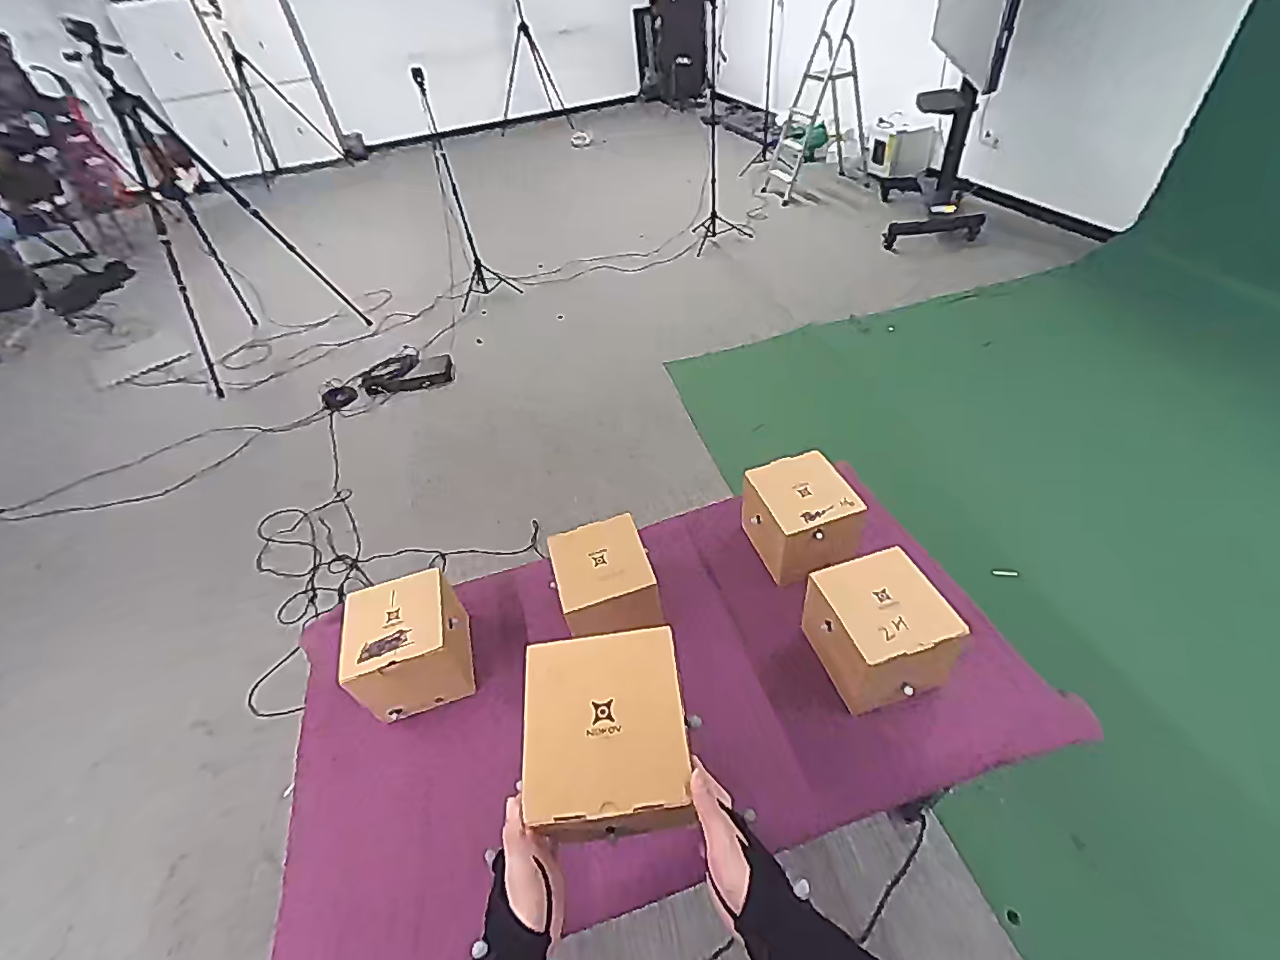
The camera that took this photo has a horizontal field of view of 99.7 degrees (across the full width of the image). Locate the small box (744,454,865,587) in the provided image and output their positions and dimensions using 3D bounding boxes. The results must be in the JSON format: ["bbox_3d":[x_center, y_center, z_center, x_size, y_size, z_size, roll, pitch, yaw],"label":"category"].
[{"bbox_3d":[0.314,0.080,1.077,0.168,0.176,0.179,-16,45,-8],"label":"small box"}]

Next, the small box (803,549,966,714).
[{"bbox_3d":[0.384,0.248,0.888,0.168,0.176,0.179,-16,43,-6],"label":"small box"}]

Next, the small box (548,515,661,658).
[{"bbox_3d":[-0.065,0.200,1.014,0.168,0.176,0.179,-16,45,-7],"label":"small box"}]

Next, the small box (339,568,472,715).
[{"bbox_3d":[-0.408,0.294,0.964,0.168,0.176,0.179,-16,44,-9],"label":"small box"}]
